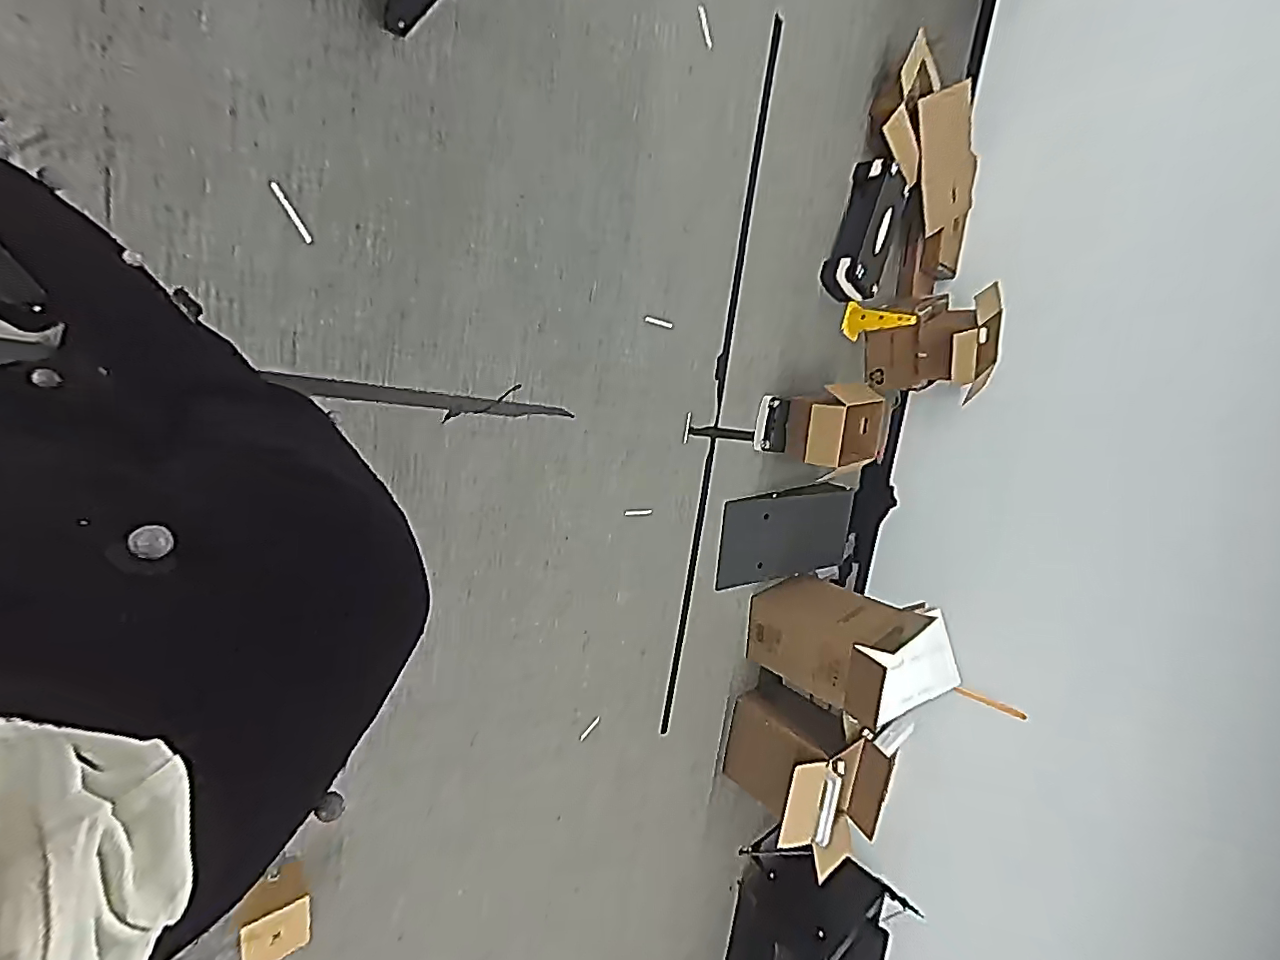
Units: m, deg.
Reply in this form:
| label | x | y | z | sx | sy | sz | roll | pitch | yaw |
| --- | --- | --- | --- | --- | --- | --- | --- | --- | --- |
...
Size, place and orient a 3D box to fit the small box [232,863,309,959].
| label | x | y | z | sx | sy | sz | roll | pitch | yaw |
| --- | --- | --- | --- | --- | --- | --- | --- | --- | --- |
| small box | -1.079 | 1.284 | 1.579 | 0.168 | 0.176 | 0.179 | -4 | 105 | -43 |
